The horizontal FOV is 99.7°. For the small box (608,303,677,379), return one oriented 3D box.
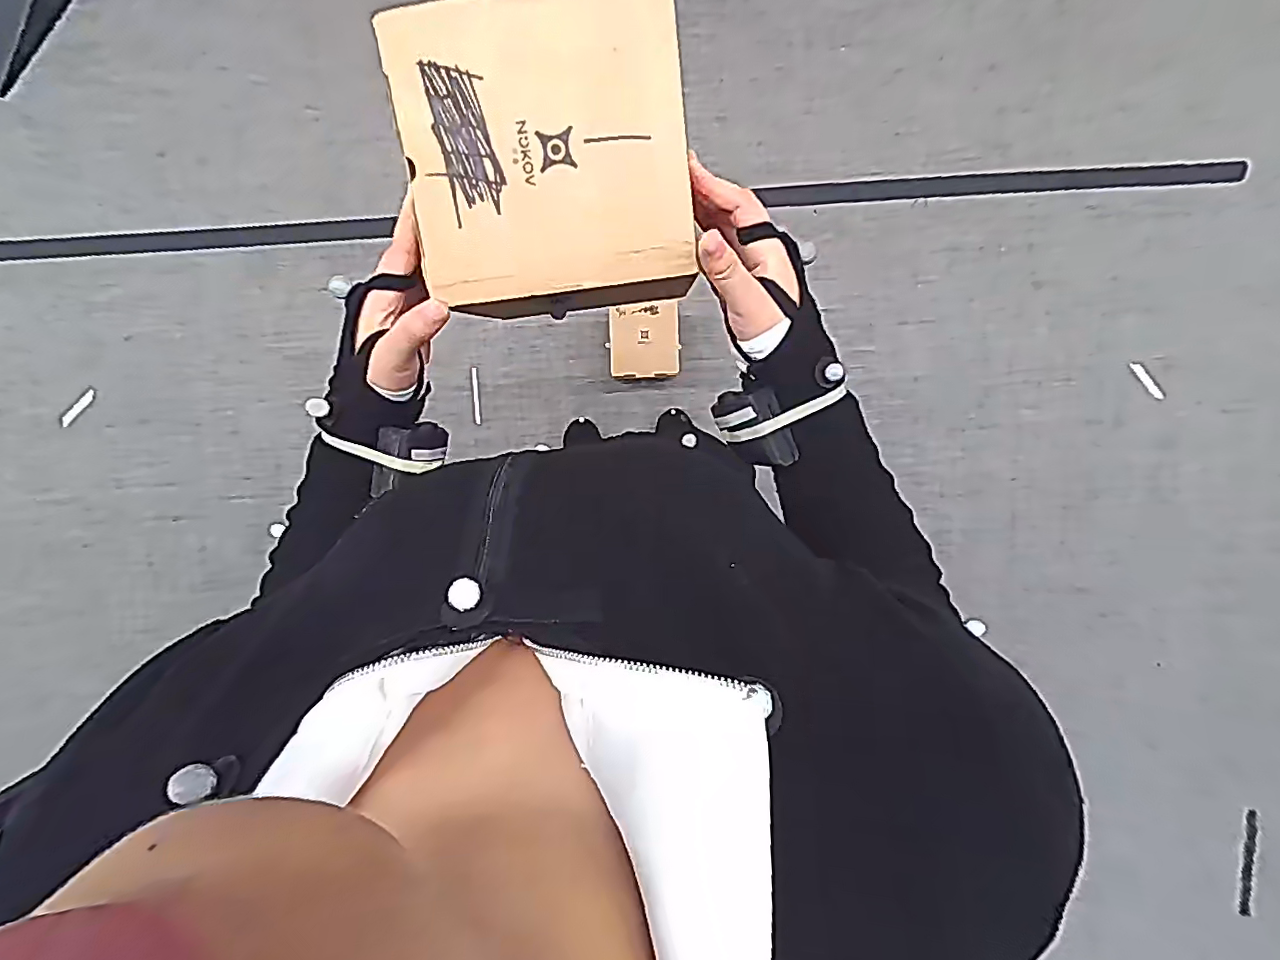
[{"bbox_3d":[0.008,-0.344,1.365,0.168,0.176,0.179,-1,99,0],"label":"small box"}]

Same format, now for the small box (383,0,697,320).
[{"bbox_3d":[-0.054,-0.216,0.405,0.179,0.176,0.168,-6,104,3],"label":"small box"}]
